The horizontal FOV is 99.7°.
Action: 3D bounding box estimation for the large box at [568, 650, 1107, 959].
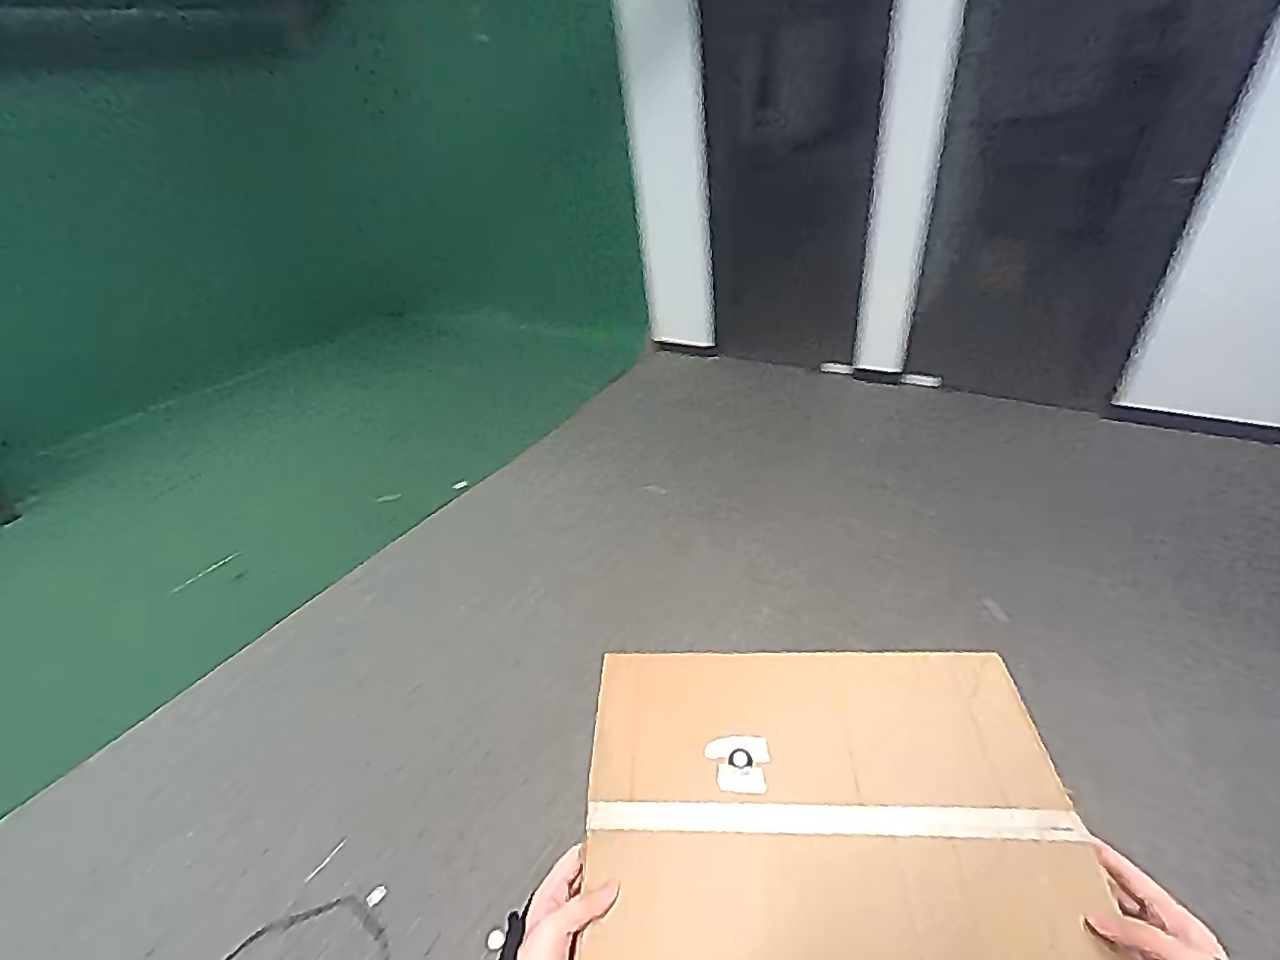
[{"bbox_3d":[0.161,0.403,0.572,0.408,0.320,0.320,-4,44,6],"label":"large box"}]
